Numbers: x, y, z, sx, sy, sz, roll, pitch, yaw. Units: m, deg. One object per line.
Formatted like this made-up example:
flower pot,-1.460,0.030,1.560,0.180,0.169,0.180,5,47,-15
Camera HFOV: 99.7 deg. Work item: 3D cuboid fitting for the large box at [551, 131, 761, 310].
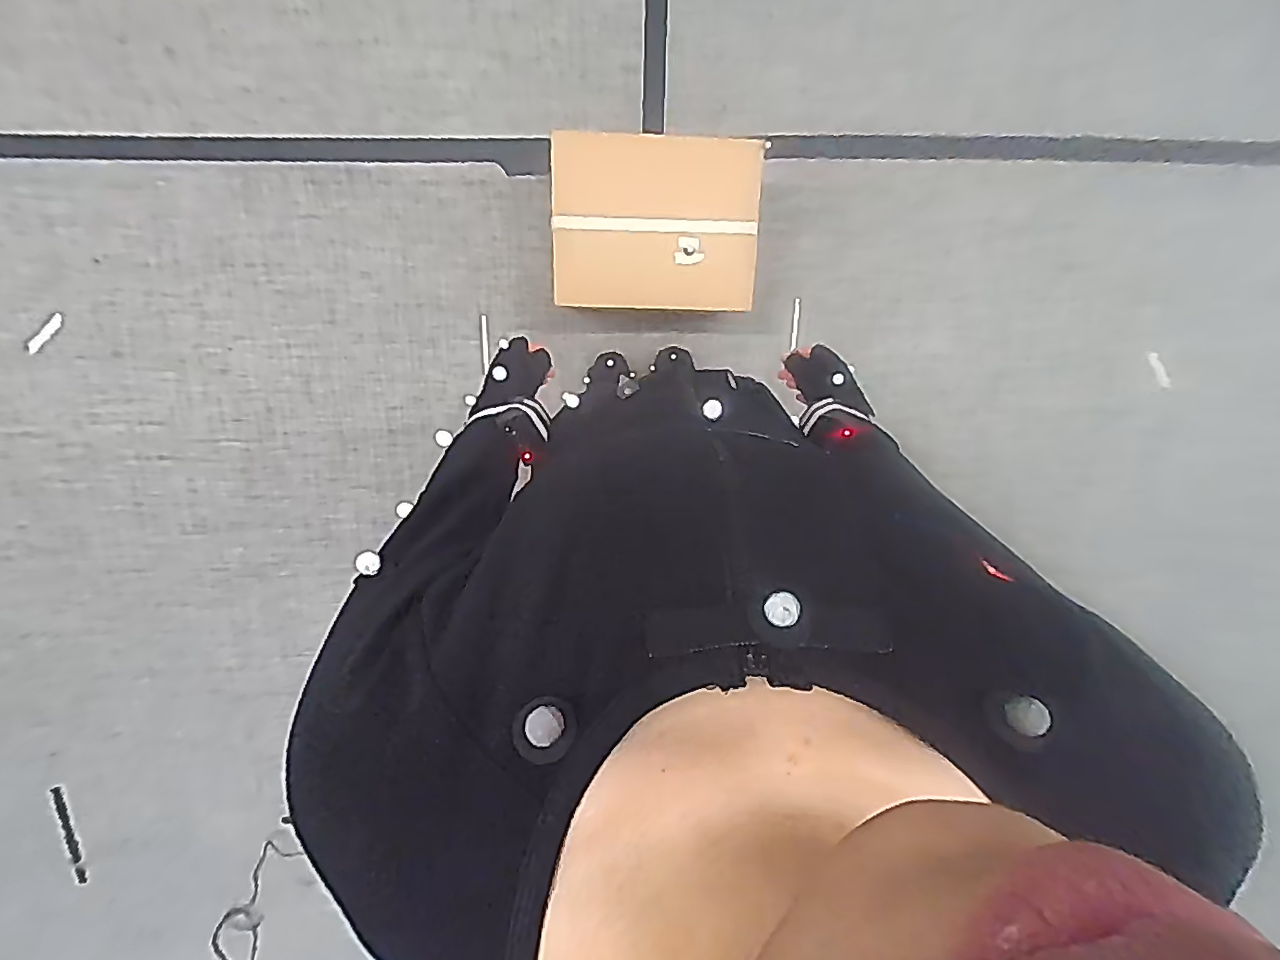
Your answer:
large box,0.022,-0.545,1.201,0.408,0.320,0.320,0,107,-4
